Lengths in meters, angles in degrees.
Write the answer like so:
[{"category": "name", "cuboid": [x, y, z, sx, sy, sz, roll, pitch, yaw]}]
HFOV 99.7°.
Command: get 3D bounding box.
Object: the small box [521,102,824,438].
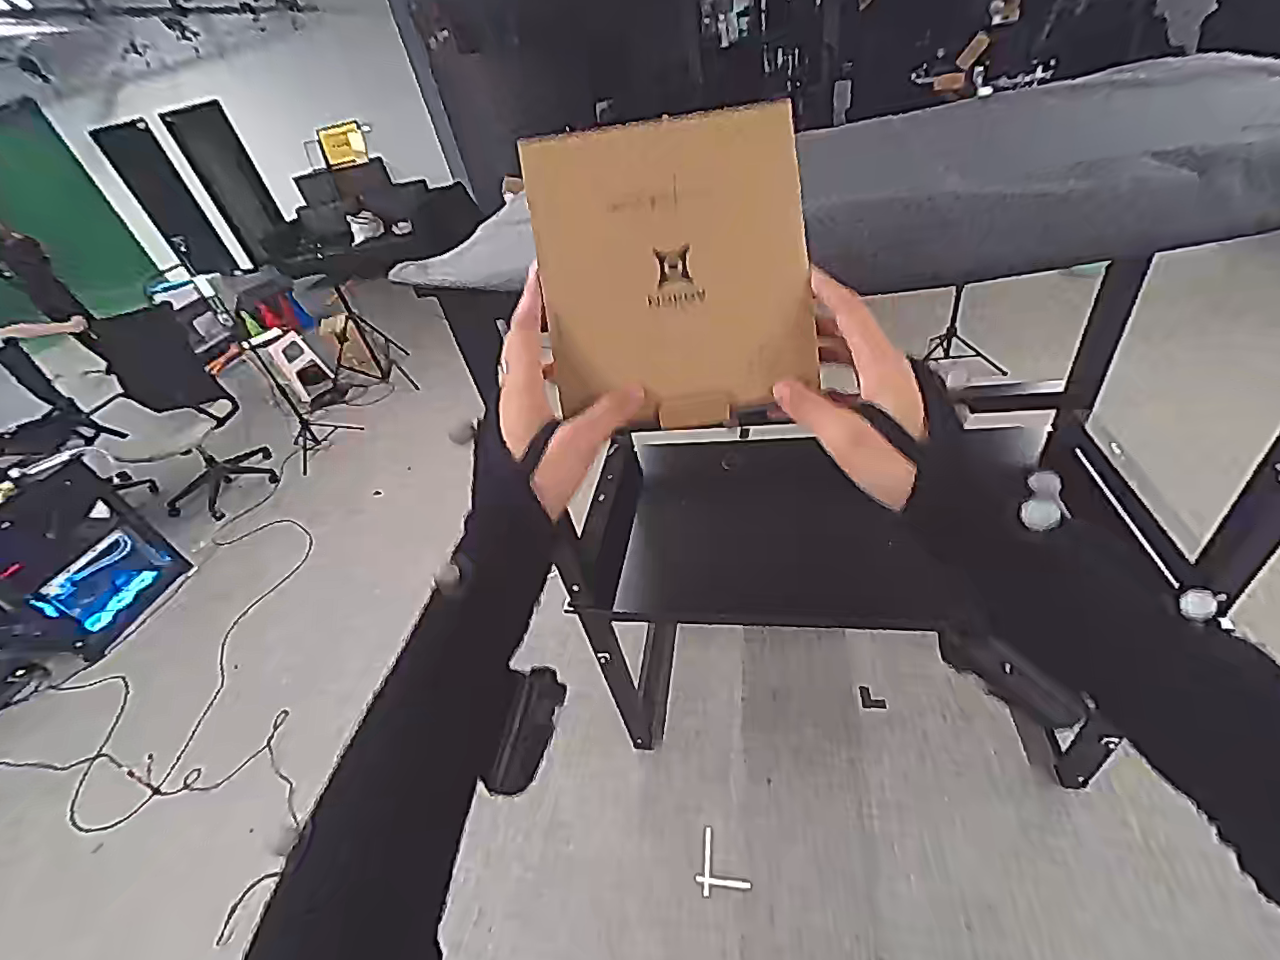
[{"category": "small box", "cuboid": [0.021, -0.133, 0.402, 0.168, 0.179, 0.176, -9, 8, -1]}]
